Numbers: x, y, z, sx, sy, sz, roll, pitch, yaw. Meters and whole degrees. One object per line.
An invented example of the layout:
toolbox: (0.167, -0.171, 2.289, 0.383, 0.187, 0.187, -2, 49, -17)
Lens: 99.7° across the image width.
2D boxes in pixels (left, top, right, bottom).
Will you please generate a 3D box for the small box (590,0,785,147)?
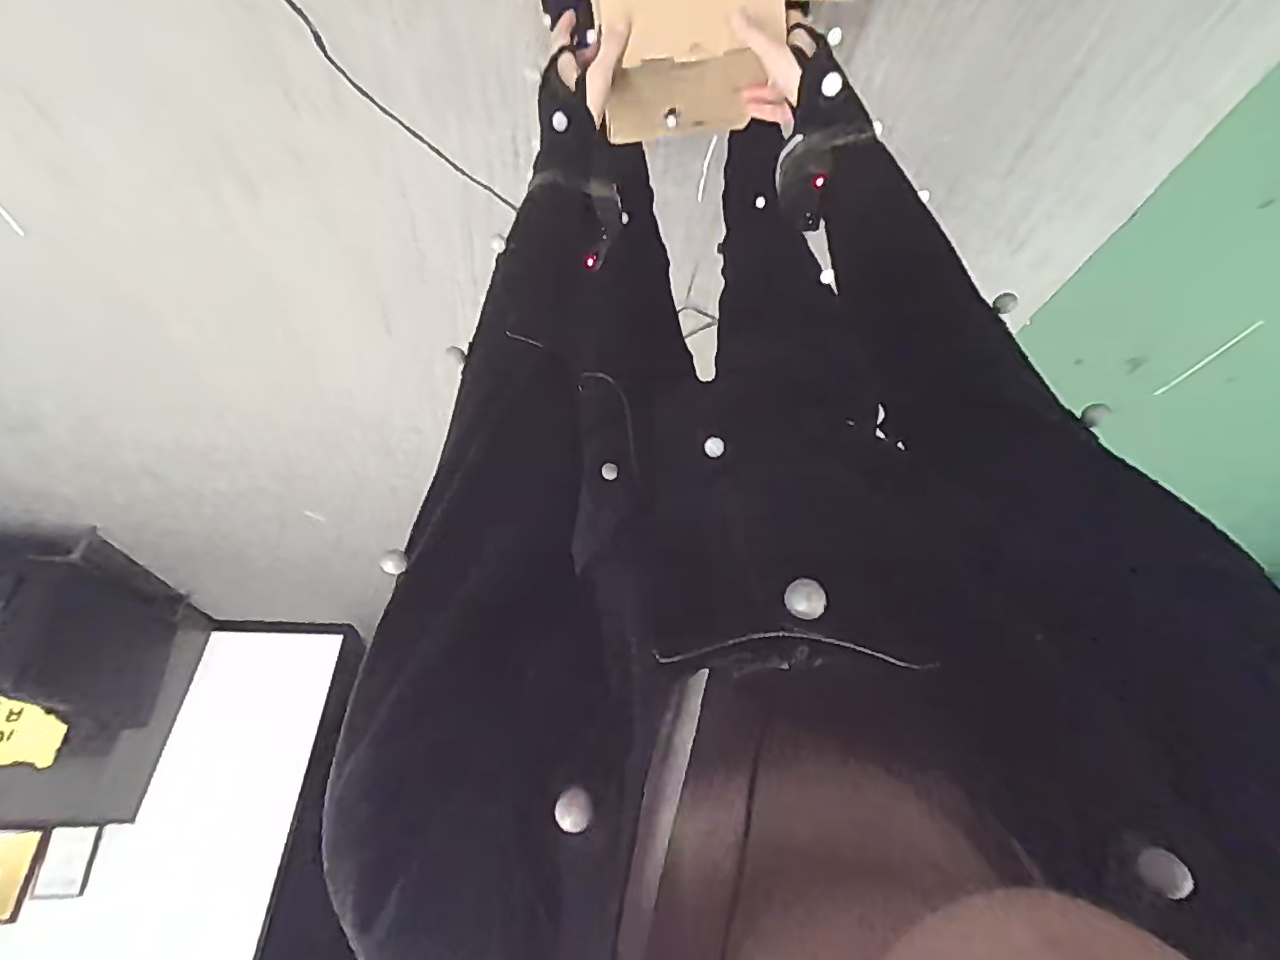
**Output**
small box: (0.036, -0.470, 0.543, 0.168, 0.176, 0.179, -7, 102, 0)
